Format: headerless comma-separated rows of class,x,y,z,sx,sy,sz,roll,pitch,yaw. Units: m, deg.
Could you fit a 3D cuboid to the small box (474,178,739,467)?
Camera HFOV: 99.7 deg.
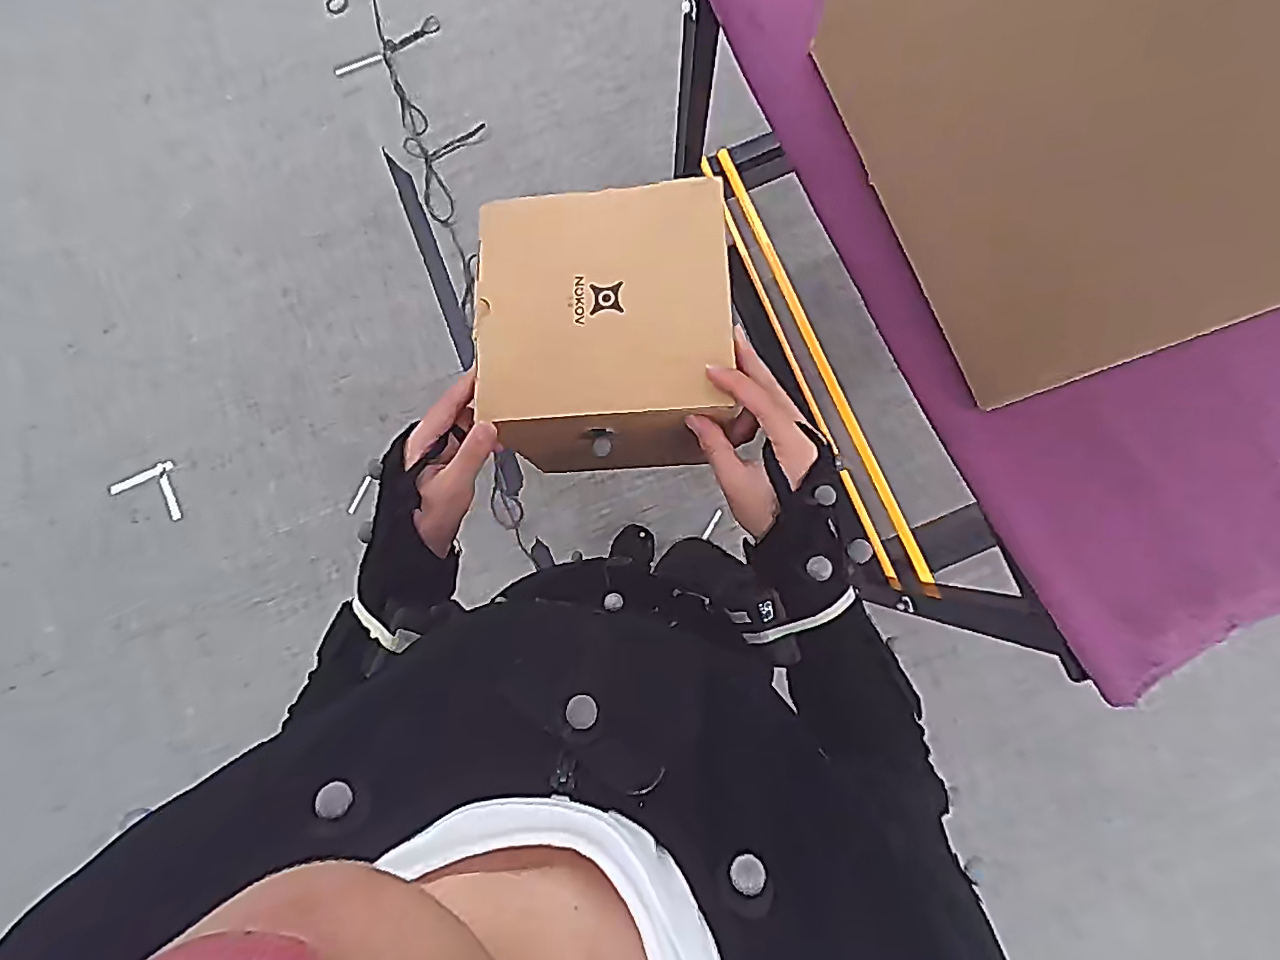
small box,-0.018,-0.108,0.440,0.179,0.176,0.168,-3,79,6
